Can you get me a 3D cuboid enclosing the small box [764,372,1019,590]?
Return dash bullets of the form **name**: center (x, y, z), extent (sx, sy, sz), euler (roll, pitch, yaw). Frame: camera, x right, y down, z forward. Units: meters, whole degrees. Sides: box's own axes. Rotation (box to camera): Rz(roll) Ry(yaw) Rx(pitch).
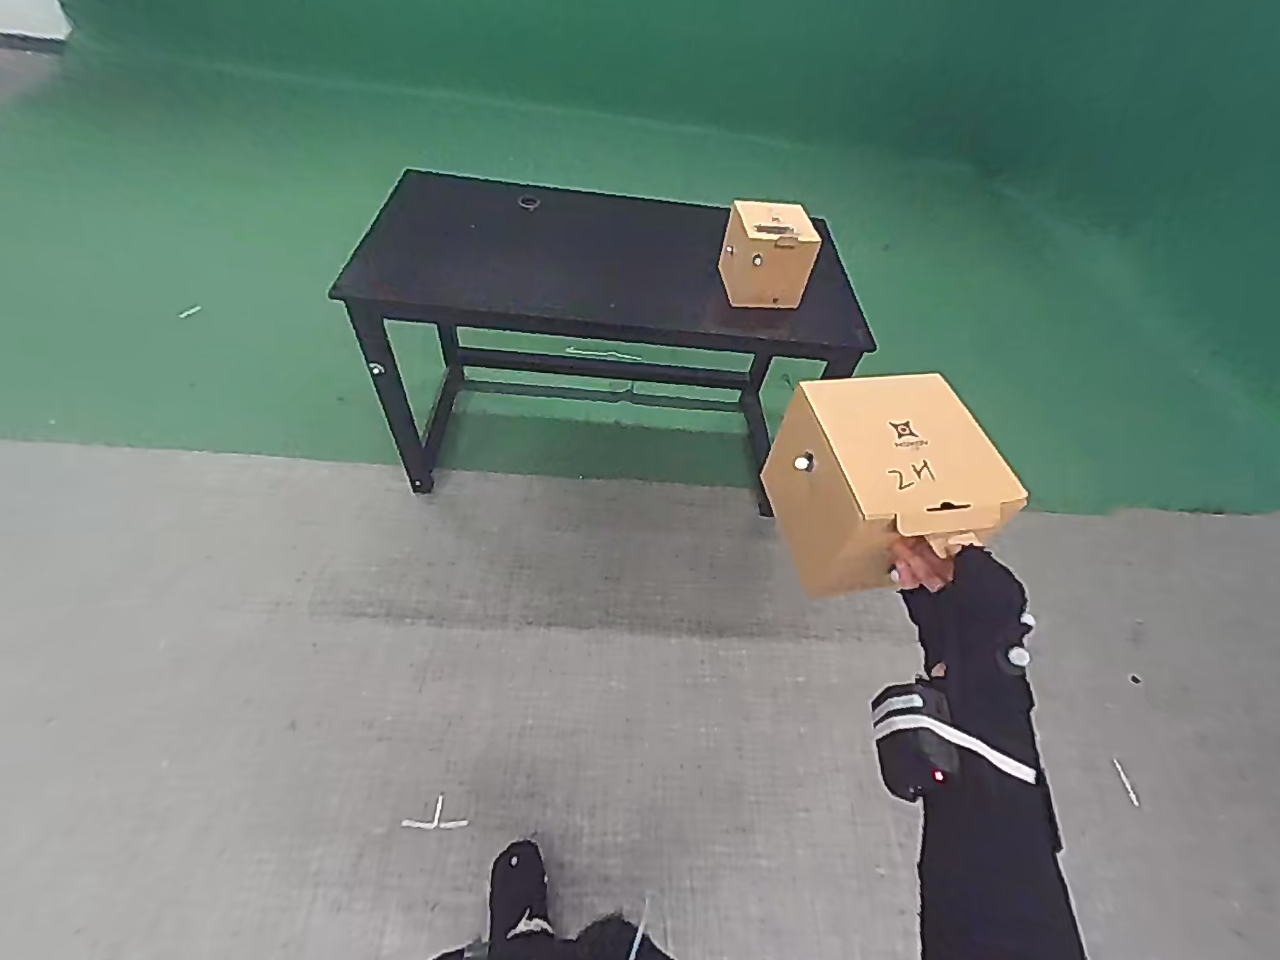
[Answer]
- **small box**: center (0.253, 0.002, 0.600), extent (0.168, 0.176, 0.179), euler (-5, 54, -9)
